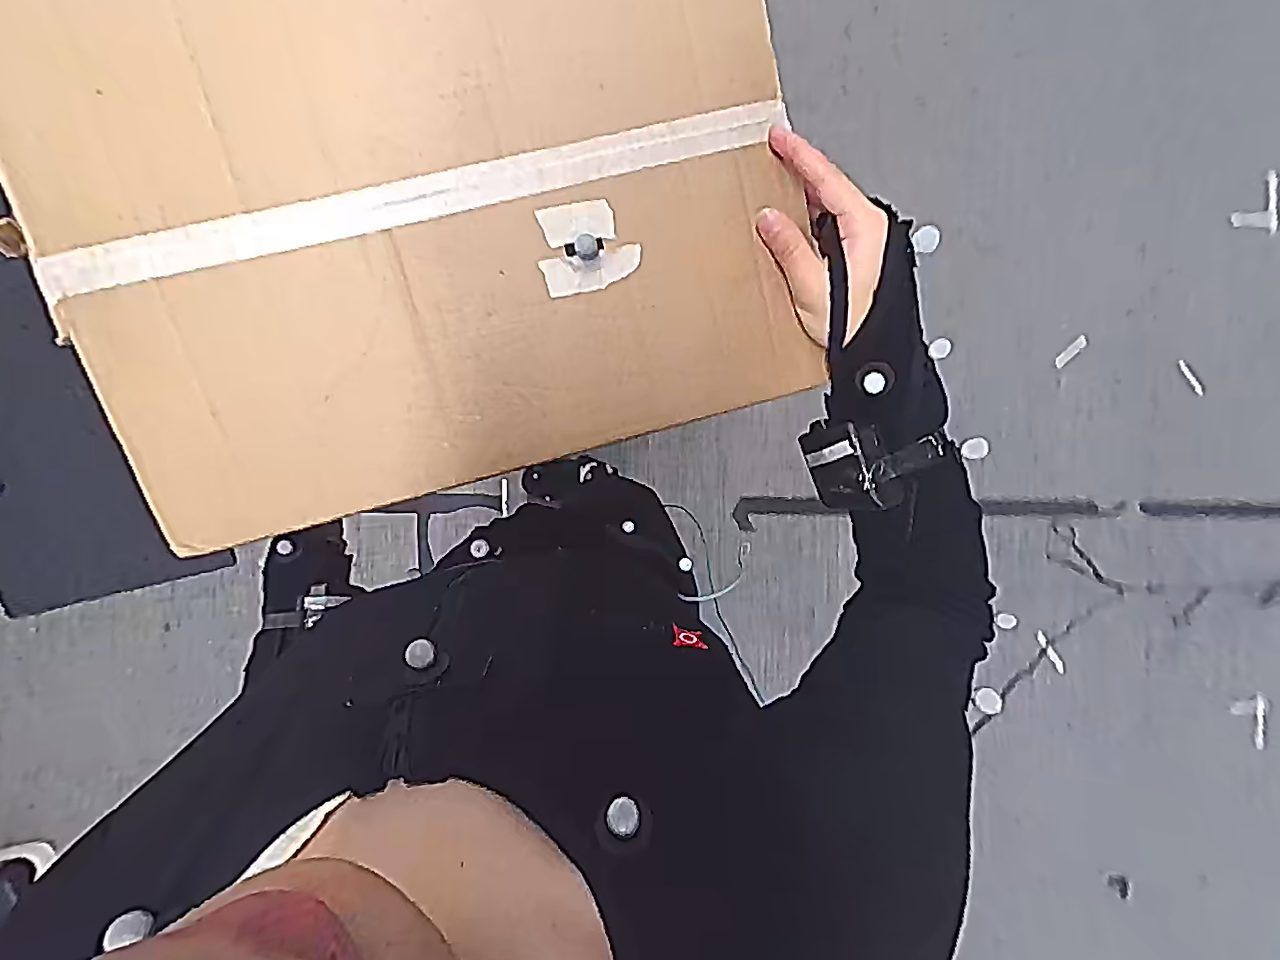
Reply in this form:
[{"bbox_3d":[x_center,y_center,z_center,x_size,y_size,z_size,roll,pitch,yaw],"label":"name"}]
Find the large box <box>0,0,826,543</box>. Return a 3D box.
[{"bbox_3d":[-0.125,-0.180,0.455,0.408,0.320,0.320,-16,101,-7],"label":"large box"}]
